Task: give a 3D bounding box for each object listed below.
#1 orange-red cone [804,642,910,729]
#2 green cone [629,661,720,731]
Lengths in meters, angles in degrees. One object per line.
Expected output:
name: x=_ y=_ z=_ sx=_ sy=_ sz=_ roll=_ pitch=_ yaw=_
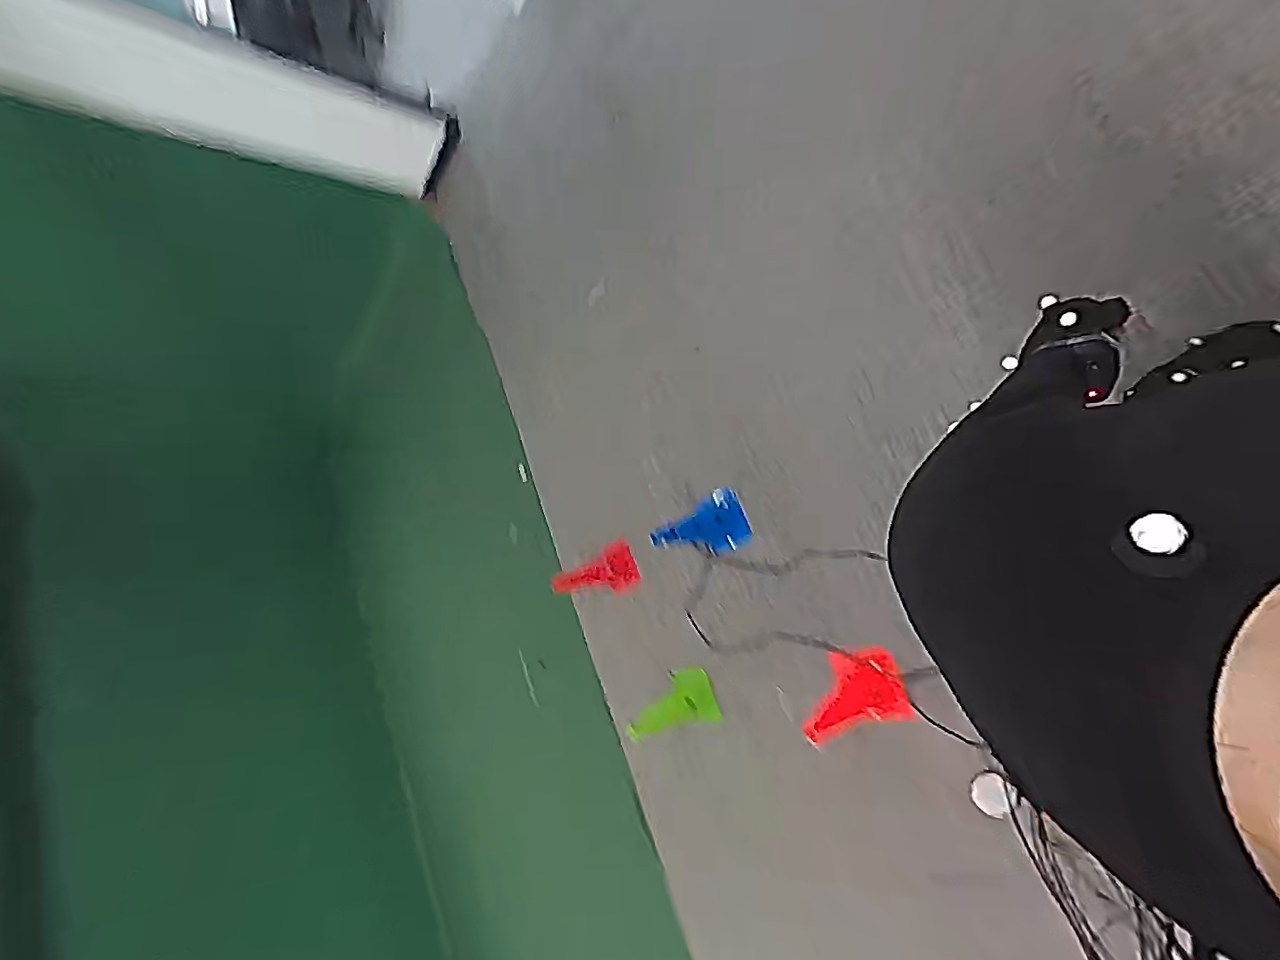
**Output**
orange-red cone: x=0.562 y=0.603 z=1.500 sx=0.199 sy=0.360 sz=0.198 roll=-26 pitch=77 yaw=47
green cone: x=0.098 y=0.842 z=2.012 sx=0.202 sy=0.368 sz=0.200 roll=-28 pitch=76 yaw=43
